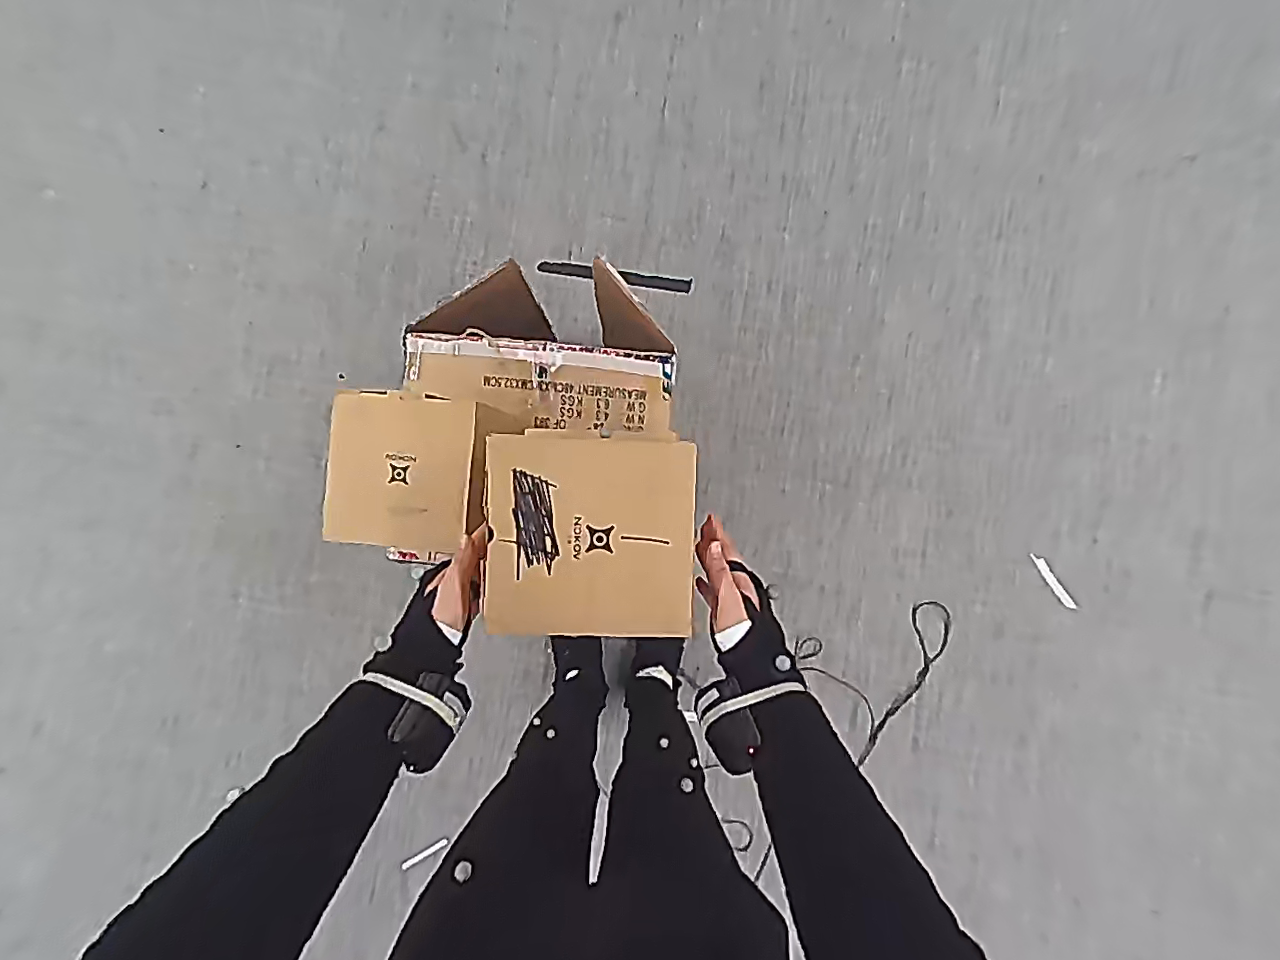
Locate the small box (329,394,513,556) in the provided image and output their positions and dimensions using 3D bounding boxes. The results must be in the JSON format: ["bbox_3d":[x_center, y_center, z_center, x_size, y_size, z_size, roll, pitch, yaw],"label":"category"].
[{"bbox_3d":[-0.268,-0.008,0.699,0.168,0.176,0.179,4,92,2],"label":"small box"}]

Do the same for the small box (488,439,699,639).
[{"bbox_3d":[-0.042,0.050,0.538,0.179,0.176,0.168,2,91,-3],"label":"small box"}]
